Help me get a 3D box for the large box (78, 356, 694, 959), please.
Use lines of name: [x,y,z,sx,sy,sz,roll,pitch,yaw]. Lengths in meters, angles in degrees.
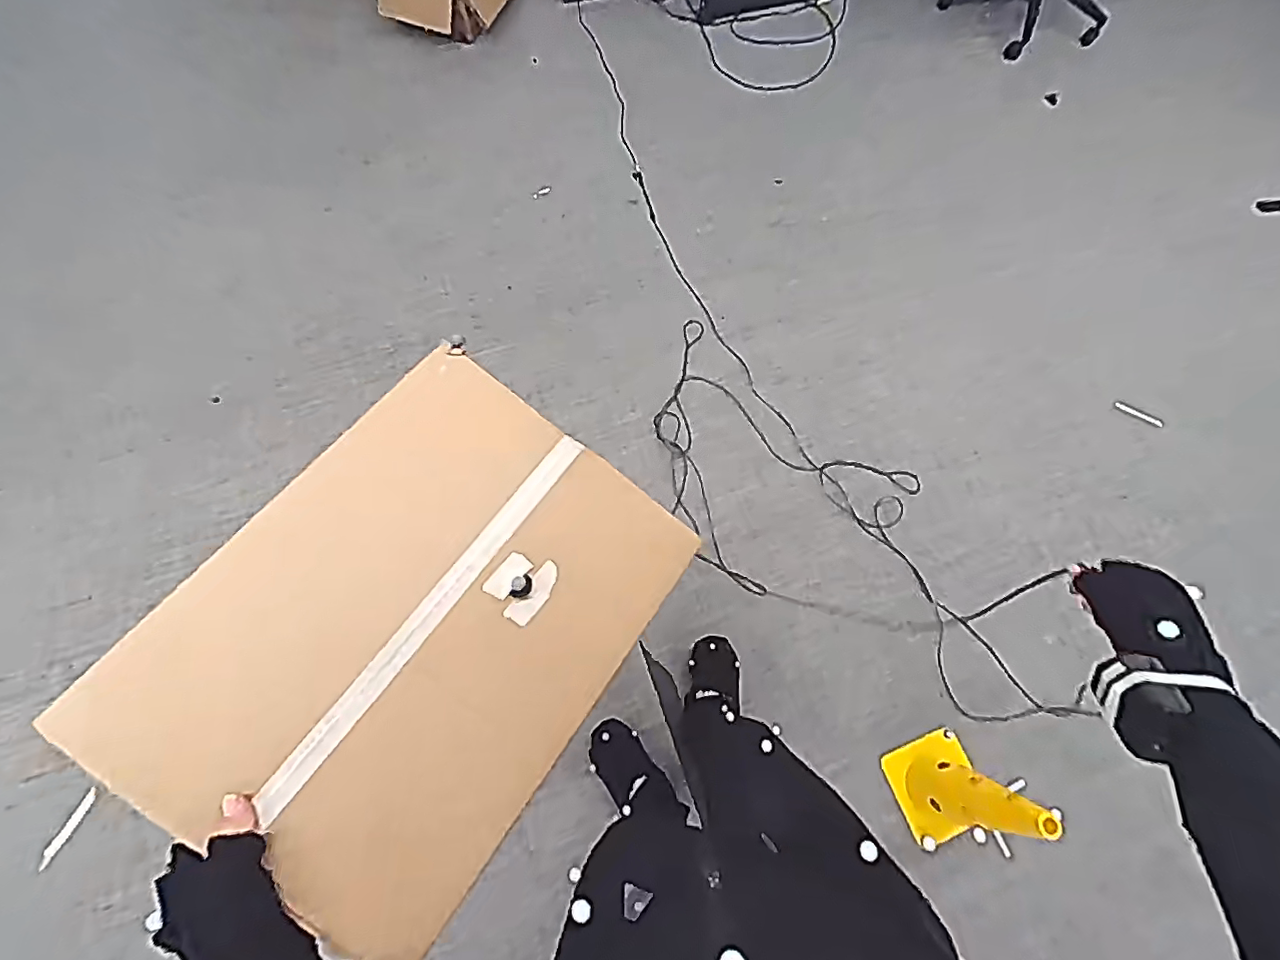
large box: [-0.208,0.159,0.592,0.320,0.320,0.408,38,69,-1]
